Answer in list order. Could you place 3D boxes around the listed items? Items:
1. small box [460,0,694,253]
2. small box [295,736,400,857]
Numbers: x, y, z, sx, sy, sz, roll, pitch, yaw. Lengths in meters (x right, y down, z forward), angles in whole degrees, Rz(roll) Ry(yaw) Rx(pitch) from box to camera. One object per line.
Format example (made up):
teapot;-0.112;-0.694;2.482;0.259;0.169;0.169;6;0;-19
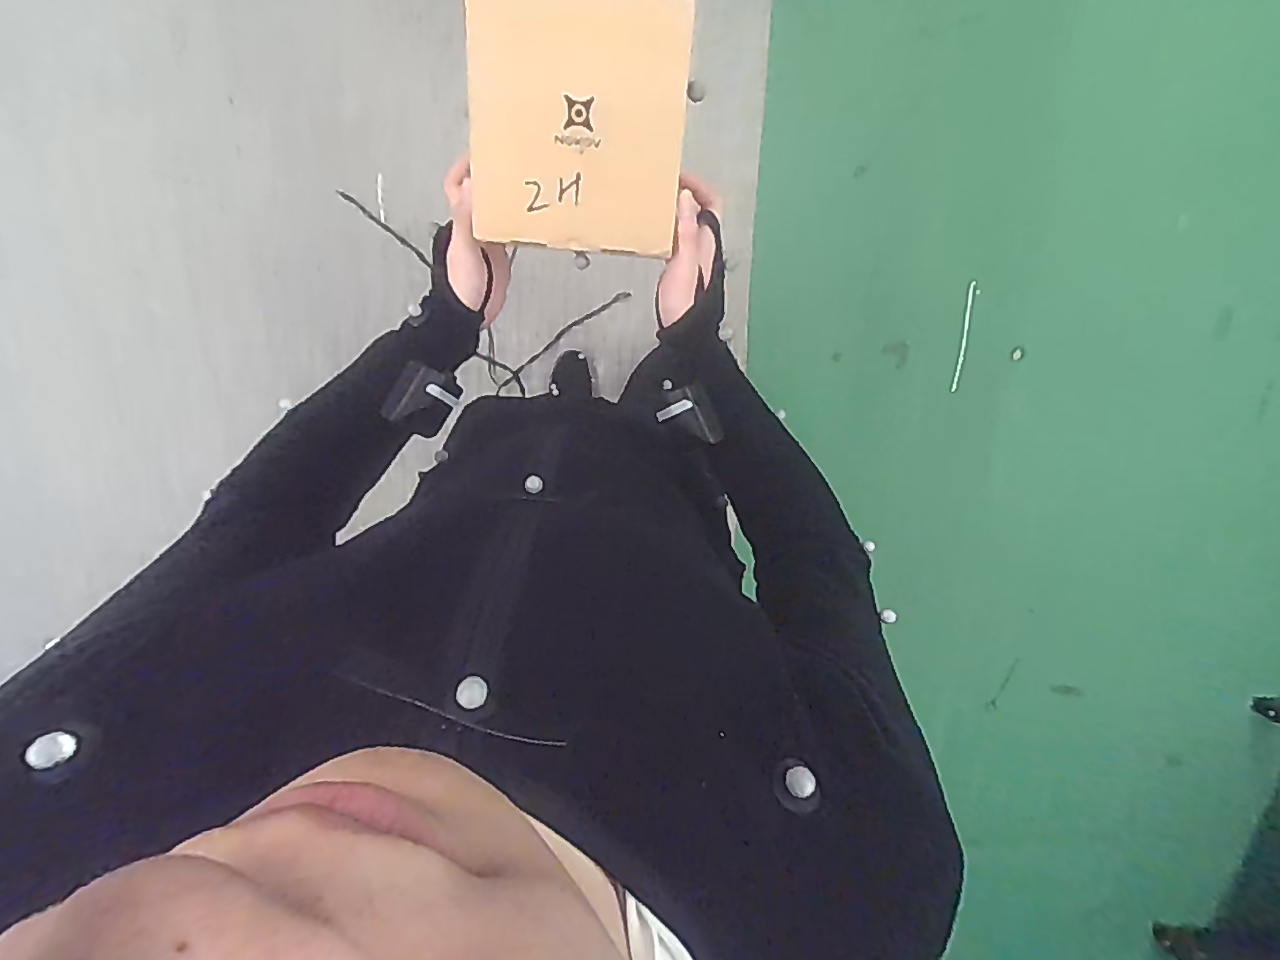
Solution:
small box;-0.053;-0.303;0.476;0.168;0.176;0.179;4;112;-3
small box;-0.675;0.734;1.264;0.168;0.176;0.179;6;103;-6
